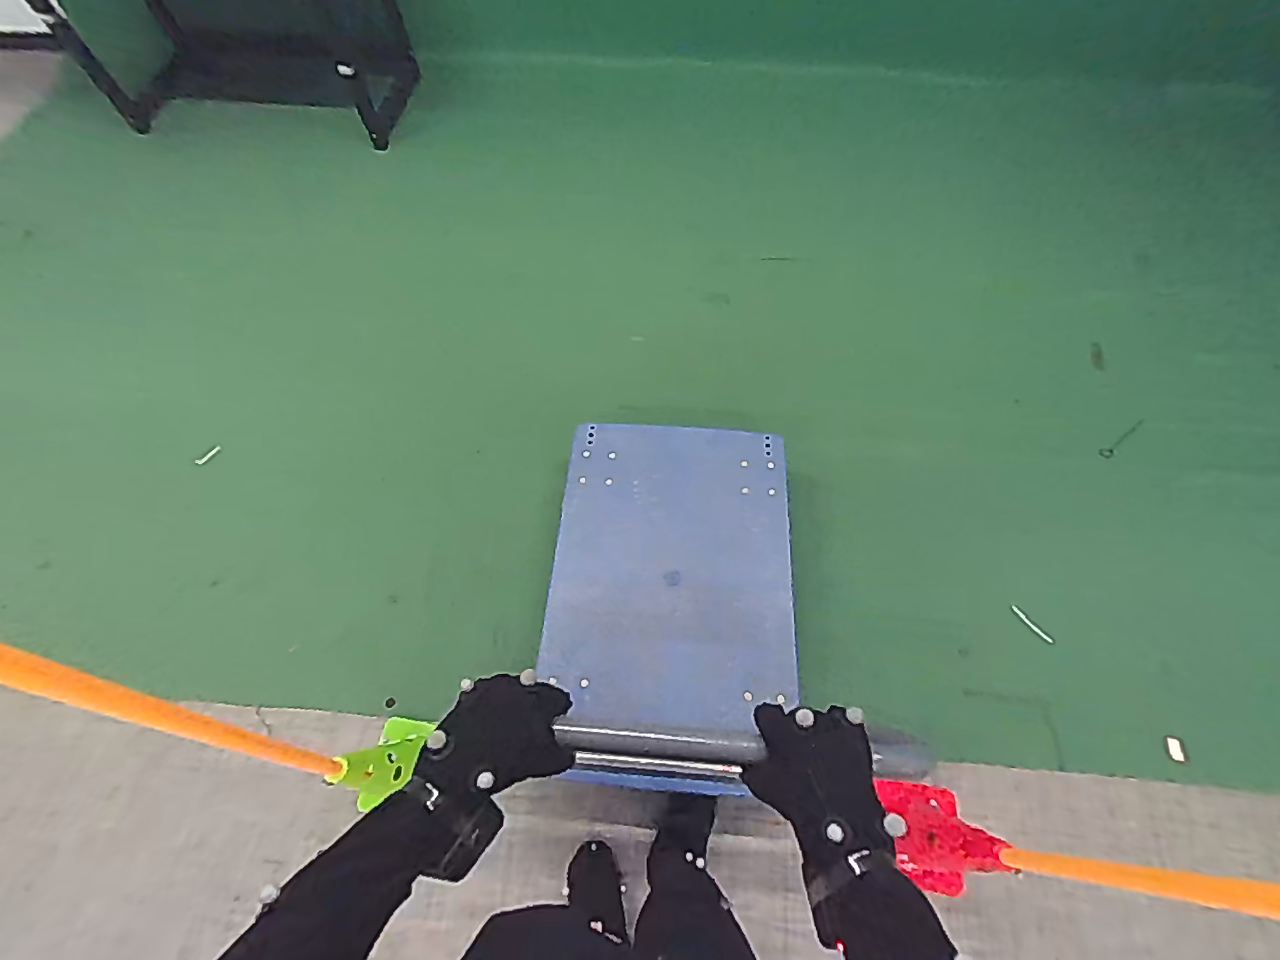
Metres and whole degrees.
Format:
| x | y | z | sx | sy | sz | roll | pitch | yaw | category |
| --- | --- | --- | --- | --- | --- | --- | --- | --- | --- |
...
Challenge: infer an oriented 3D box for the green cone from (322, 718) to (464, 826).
| x | y | z | sx | sy | sz | roll | pitch | yaw | category |
| --- | --- | --- | --- | --- | --- | --- | --- | --- | --- |
| -0.533 | 0.592 | 1.111 | 0.202 | 0.368 | 0.200 | 8 | 61 | 6 | green cone |
